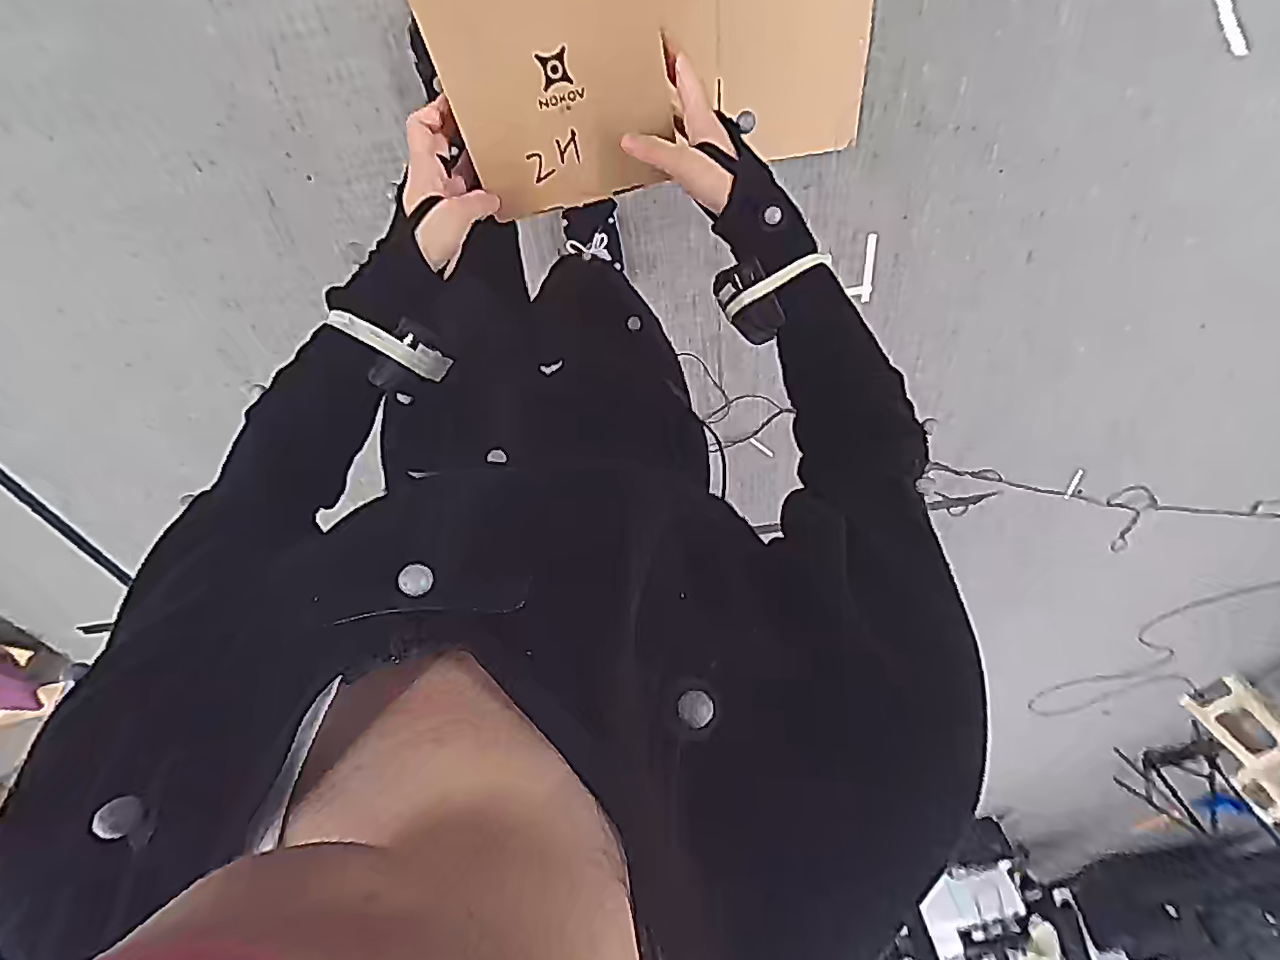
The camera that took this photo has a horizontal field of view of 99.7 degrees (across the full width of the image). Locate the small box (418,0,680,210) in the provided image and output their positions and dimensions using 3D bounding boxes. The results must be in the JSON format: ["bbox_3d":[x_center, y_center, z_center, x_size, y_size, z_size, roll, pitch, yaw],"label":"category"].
[{"bbox_3d":[-0.069,-0.363,0.453,0.168,0.176,0.179,-12,137,5],"label":"small box"}]
